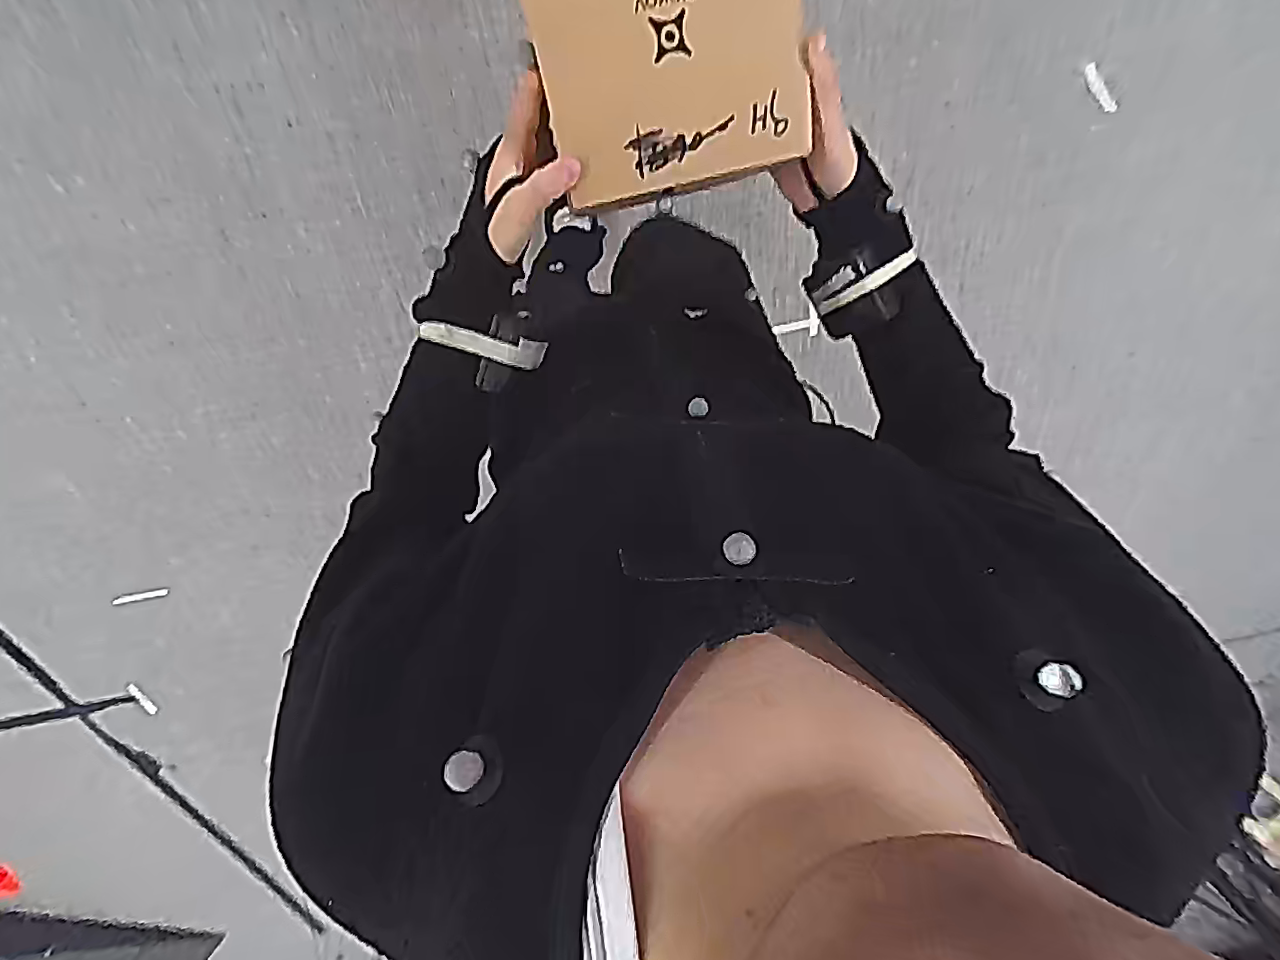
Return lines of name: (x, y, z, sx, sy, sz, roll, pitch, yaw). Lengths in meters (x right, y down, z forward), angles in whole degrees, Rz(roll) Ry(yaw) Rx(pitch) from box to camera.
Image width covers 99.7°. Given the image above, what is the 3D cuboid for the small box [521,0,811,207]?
small box: (0.007, -0.314, 0.391, 0.168, 0.176, 0.179, -14, 114, 0)
